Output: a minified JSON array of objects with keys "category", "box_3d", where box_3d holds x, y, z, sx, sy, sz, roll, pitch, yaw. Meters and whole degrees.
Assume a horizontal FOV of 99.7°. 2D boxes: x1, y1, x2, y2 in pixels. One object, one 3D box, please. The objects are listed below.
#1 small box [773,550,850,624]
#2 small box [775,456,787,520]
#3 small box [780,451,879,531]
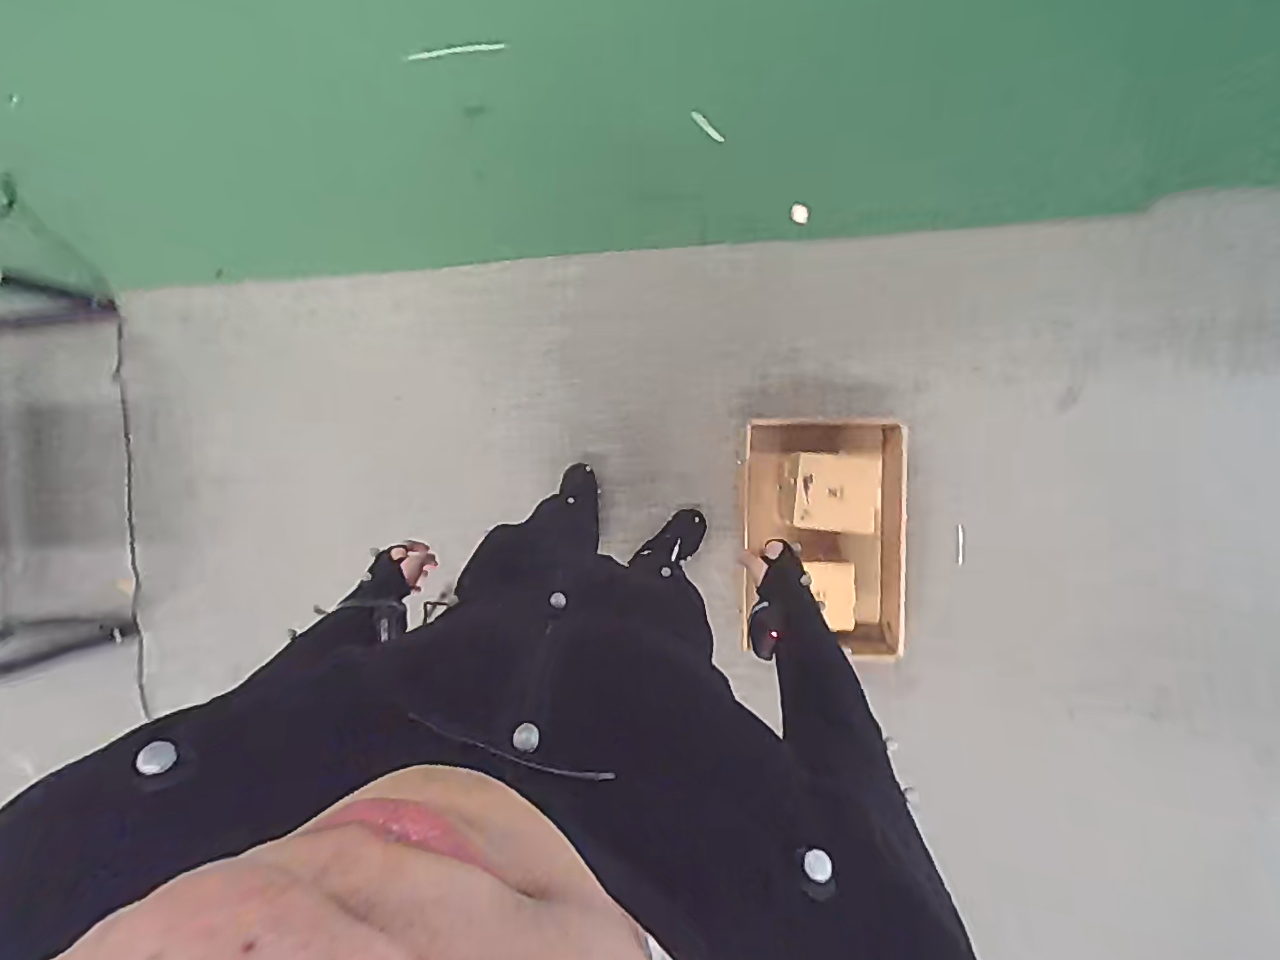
[{"category":"small box","box_3d":[0.455,0.282,1.453,0.179,0.176,0.168,0,91,7]},{"category":"small box","box_3d":[0.458,0.019,1.442,0.179,0.176,0.168,0,93,7]},{"category":"small box","box_3d":[0.440,0.020,1.279,0.179,0.176,0.168,6,93,6]}]
